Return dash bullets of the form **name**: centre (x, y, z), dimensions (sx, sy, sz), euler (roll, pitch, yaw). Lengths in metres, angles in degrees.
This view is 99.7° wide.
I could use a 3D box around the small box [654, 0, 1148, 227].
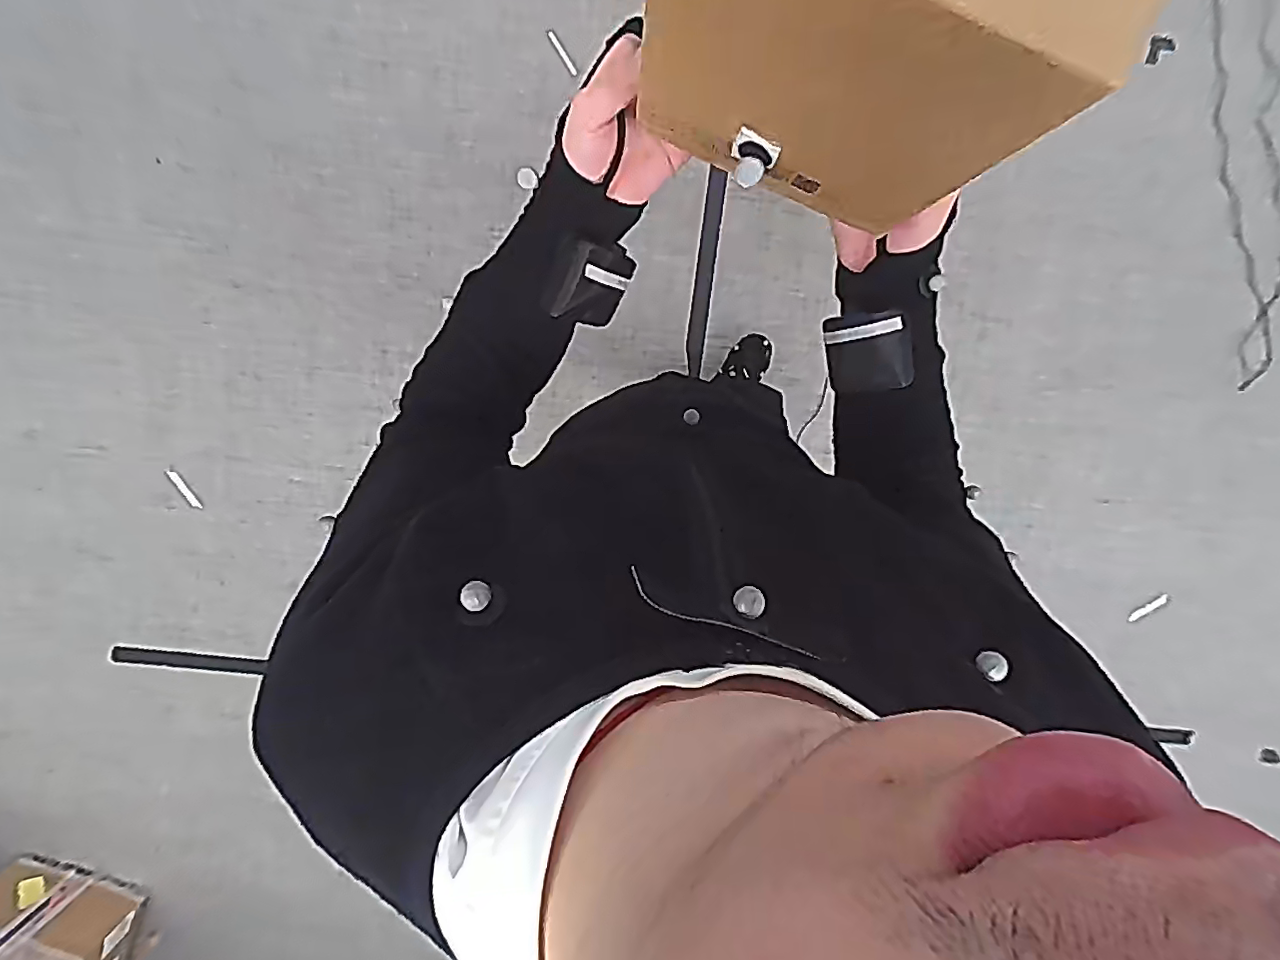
- **small box**: centre (0.110, -0.253, 0.249), dimensions (0.168, 0.176, 0.179), euler (20, 97, -5)
